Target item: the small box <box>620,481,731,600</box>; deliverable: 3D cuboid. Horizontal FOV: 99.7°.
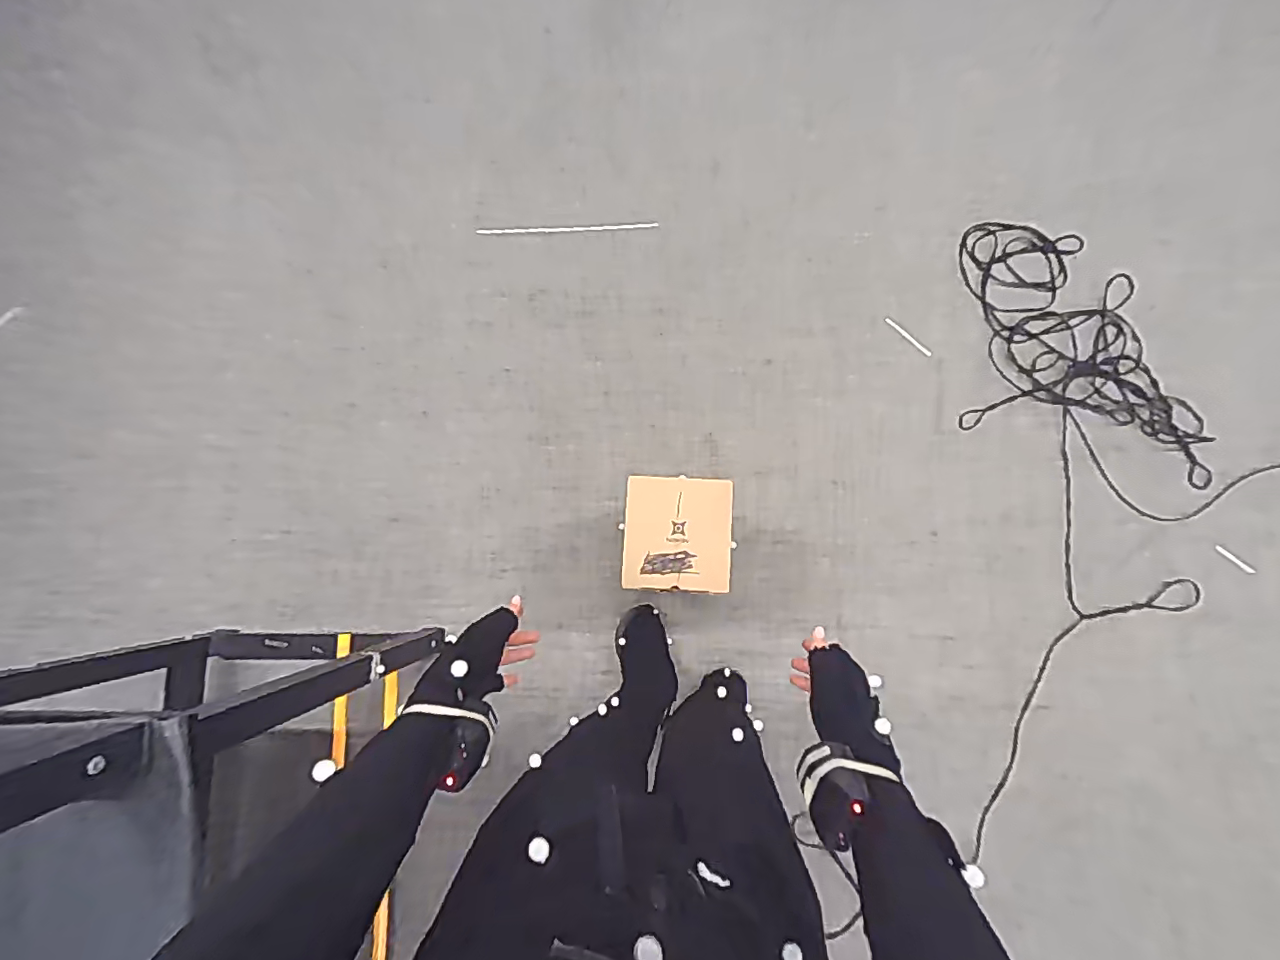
[{"bbox_3d":[0.060,0.101,0.912,0.168,0.176,0.179,3,83,3],"label":"small box"}]
